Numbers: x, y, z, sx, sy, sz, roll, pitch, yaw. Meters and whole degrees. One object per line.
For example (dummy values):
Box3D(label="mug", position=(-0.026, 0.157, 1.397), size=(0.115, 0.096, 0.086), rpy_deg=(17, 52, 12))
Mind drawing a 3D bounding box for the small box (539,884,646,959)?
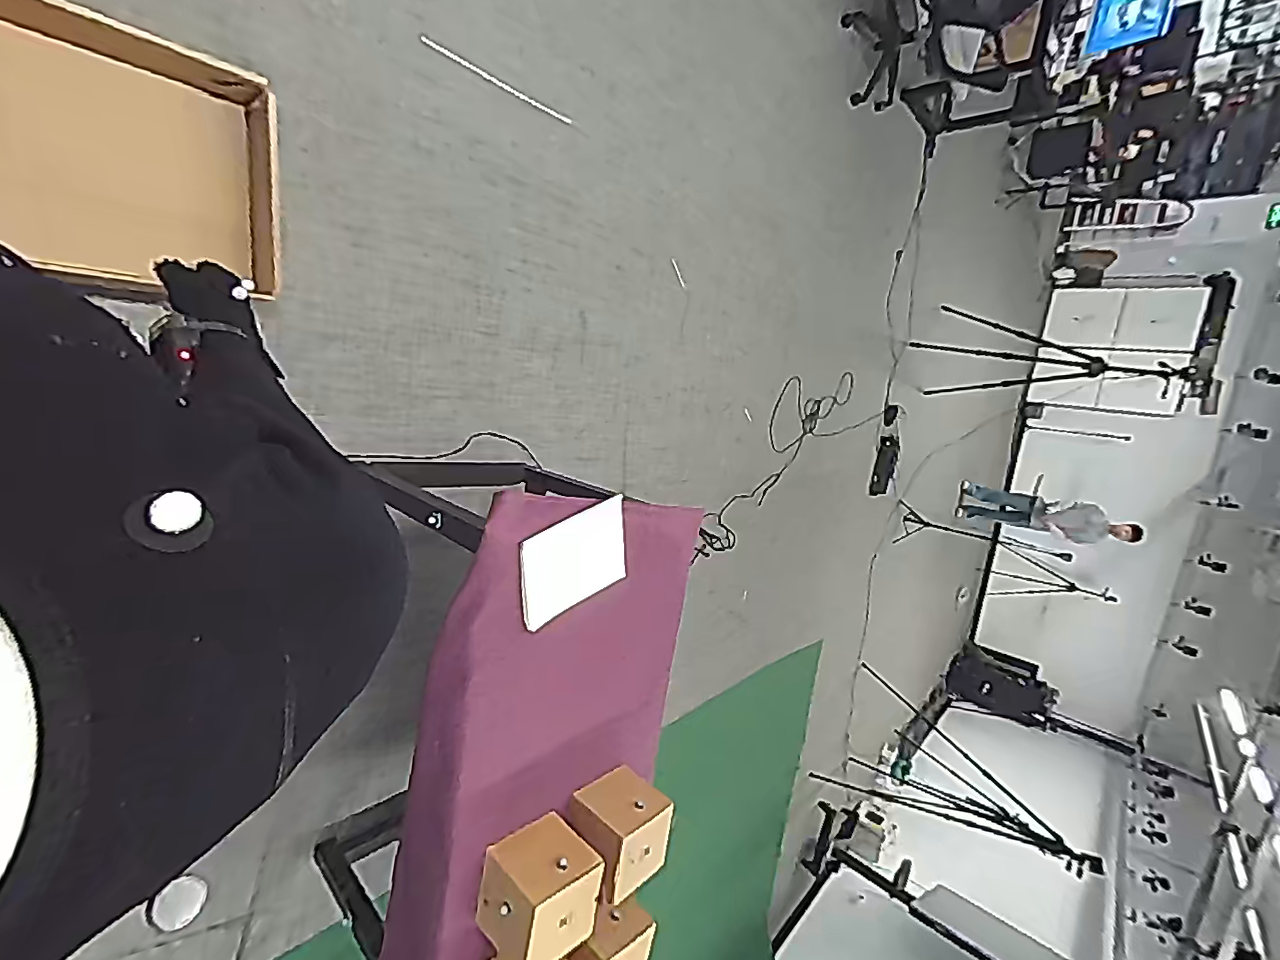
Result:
Box3D(label="small box", position=(-0.116, 1.105, 1.312), size=(0.179, 0.176, 0.168), rpy_deg=(7, 96, -50))

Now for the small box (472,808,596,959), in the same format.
Box3D(label="small box", position=(-0.220, 0.819, 1.102), size=(0.179, 0.176, 0.168), rpy_deg=(4, 99, -49))

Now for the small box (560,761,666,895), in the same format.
Box3D(label="small box", position=(-0.069, 0.799, 1.267), size=(0.179, 0.176, 0.168), rpy_deg=(0, 102, -48))
